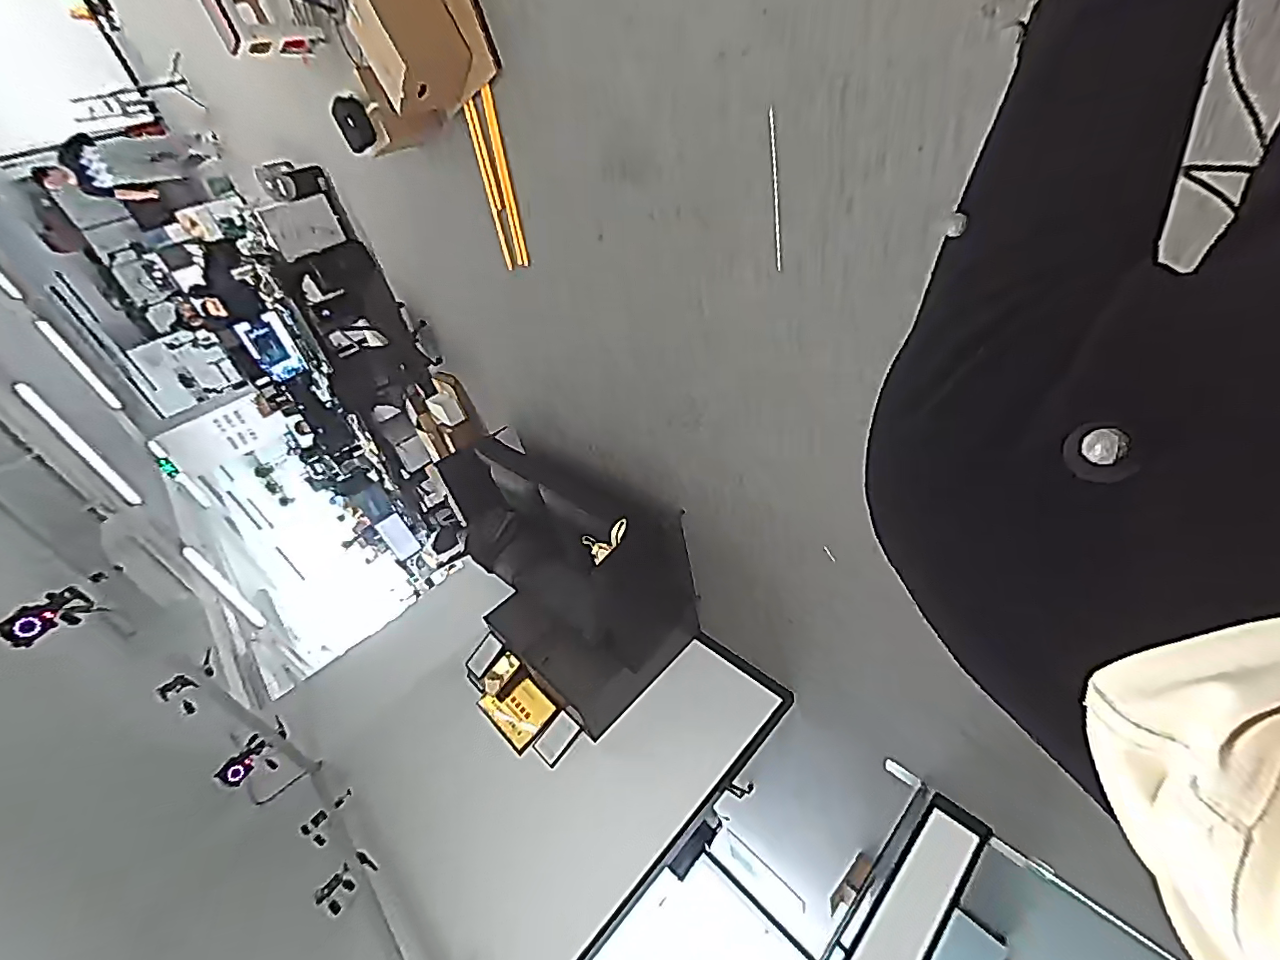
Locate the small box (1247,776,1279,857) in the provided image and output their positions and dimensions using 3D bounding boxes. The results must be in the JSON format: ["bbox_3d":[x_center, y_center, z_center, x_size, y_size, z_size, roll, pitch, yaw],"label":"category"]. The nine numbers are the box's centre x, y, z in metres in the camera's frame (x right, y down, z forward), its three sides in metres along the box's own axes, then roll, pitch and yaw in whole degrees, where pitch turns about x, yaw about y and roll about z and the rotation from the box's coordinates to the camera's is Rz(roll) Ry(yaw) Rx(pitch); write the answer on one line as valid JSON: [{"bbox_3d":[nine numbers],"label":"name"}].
[{"bbox_3d":[1.630,0.829,1.293,0.168,0.176,0.179,30,145,37],"label":"small box"}]

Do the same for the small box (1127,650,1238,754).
[{"bbox_3d":[1.543,0.627,1.537,0.168,0.176,0.179,28,143,36],"label":"small box"}]
